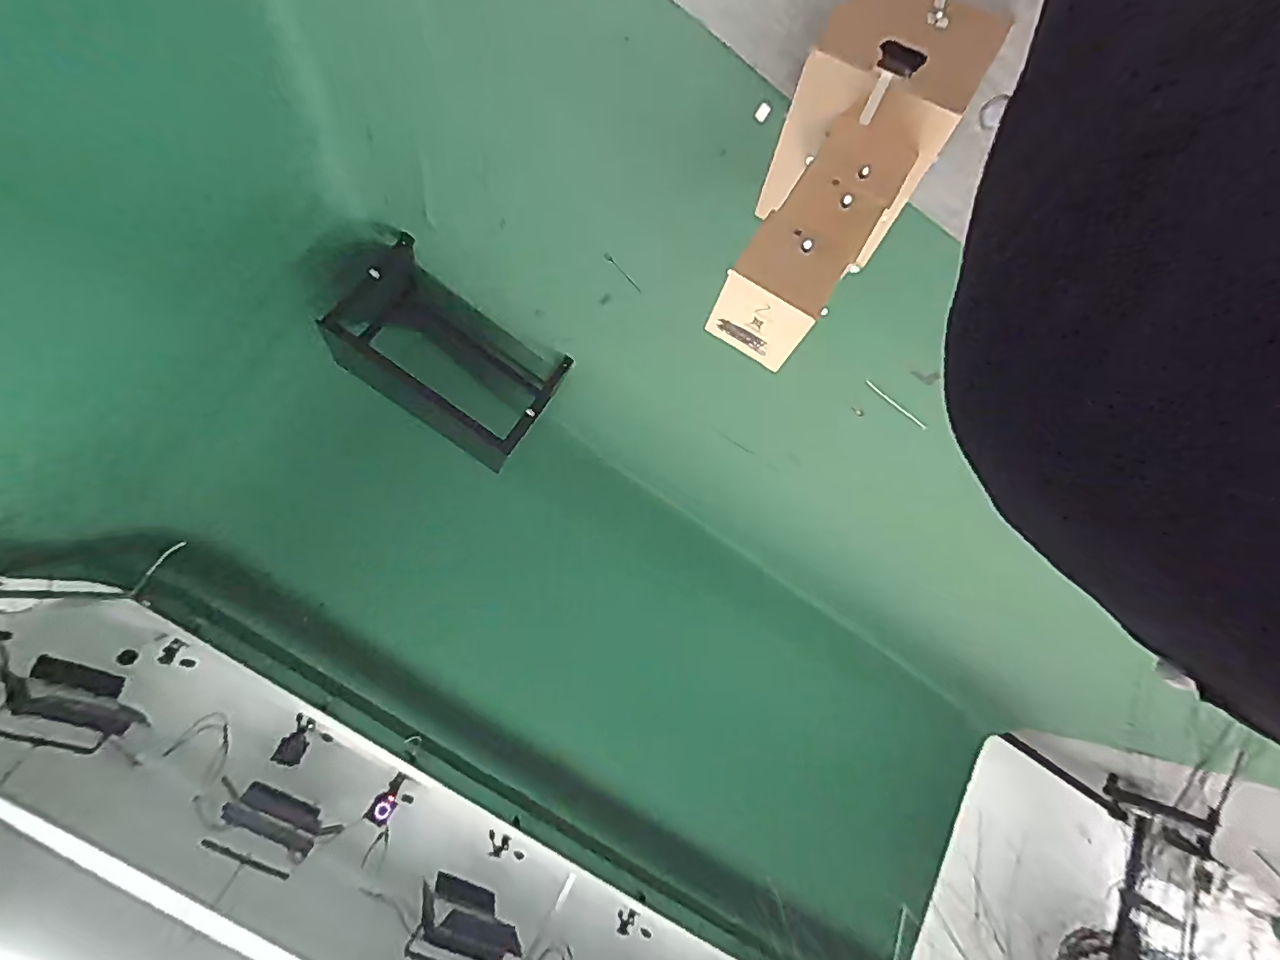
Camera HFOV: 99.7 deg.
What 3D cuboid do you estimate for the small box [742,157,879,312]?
[{"bbox_3d":[0.330,-0.472,1.051,0.168,0.176,0.179,32,160,0],"label":"small box"}]

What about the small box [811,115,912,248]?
[{"bbox_3d":[0.417,-0.598,1.107,0.179,0.176,0.168,31,160,1],"label":"small box"}]

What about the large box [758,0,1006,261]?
[{"bbox_3d":[0.512,-0.801,1.215,0.320,0.320,0.408,31,162,7],"label":"large box"}]
